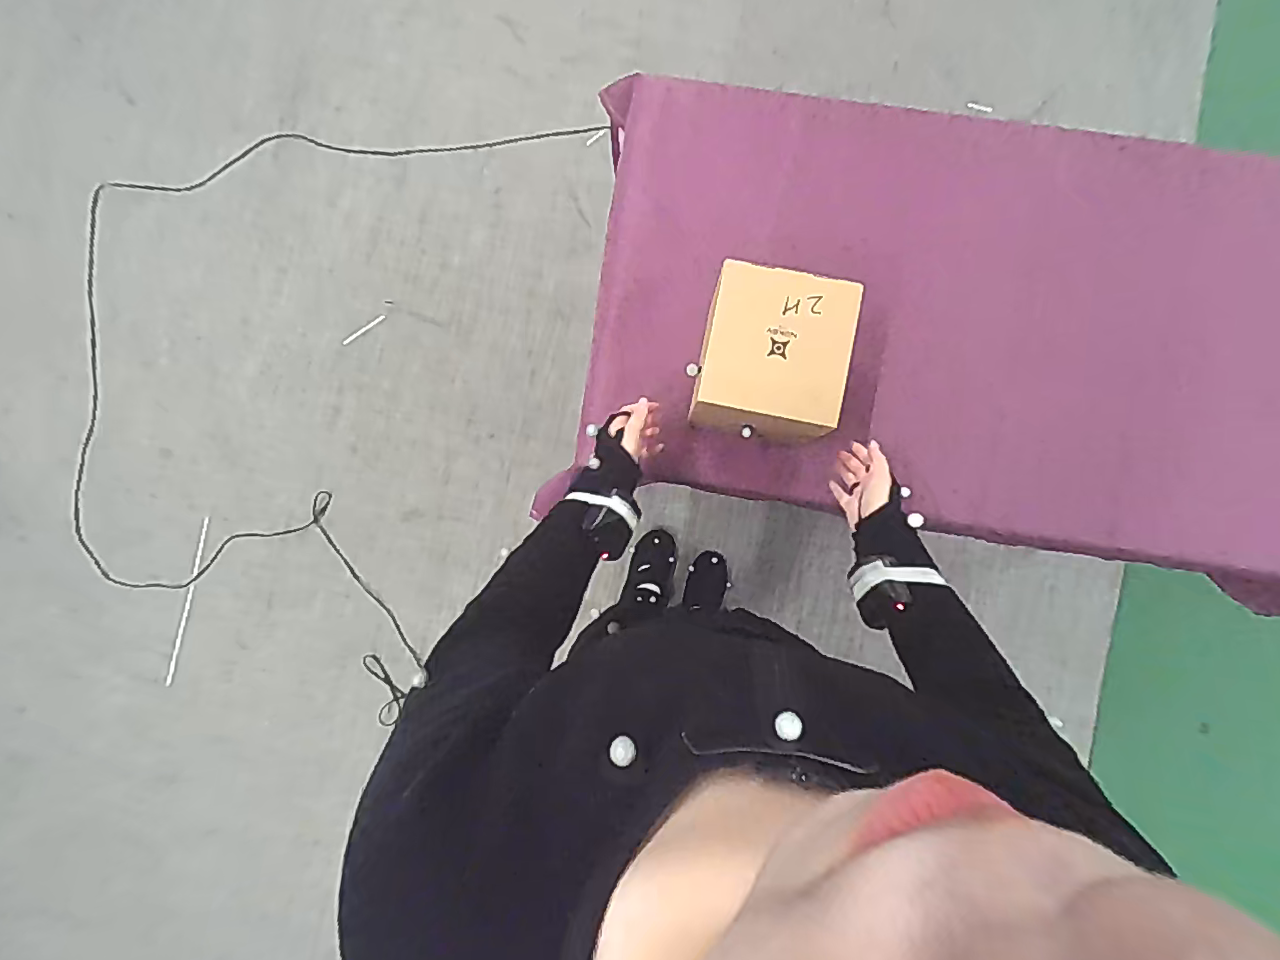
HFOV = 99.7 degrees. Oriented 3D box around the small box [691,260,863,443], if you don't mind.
[{"bbox_3d":[0.164,-0.152,0.702,0.168,0.176,0.179,12,87,2],"label":"small box"}]
